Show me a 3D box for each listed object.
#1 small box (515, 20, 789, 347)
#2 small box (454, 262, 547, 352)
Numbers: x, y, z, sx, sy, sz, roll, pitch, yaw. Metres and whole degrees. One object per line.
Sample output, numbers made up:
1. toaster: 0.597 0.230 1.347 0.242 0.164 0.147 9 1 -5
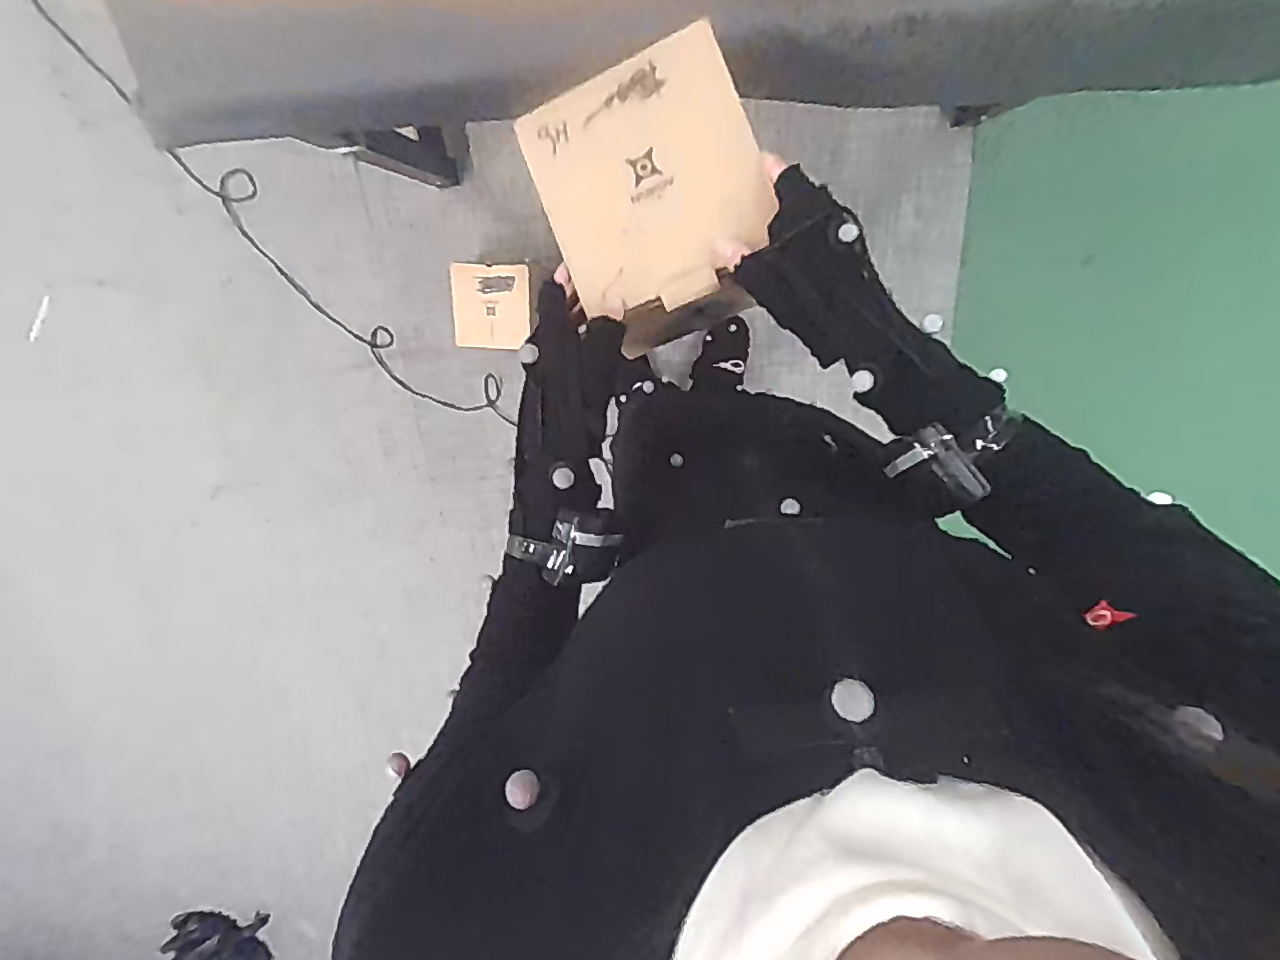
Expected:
1. small box: 0.022 -0.234 0.488 0.168 0.176 0.179 -23 90 12
2. small box: -0.308 -0.395 1.227 0.168 0.176 0.179 3 112 1
